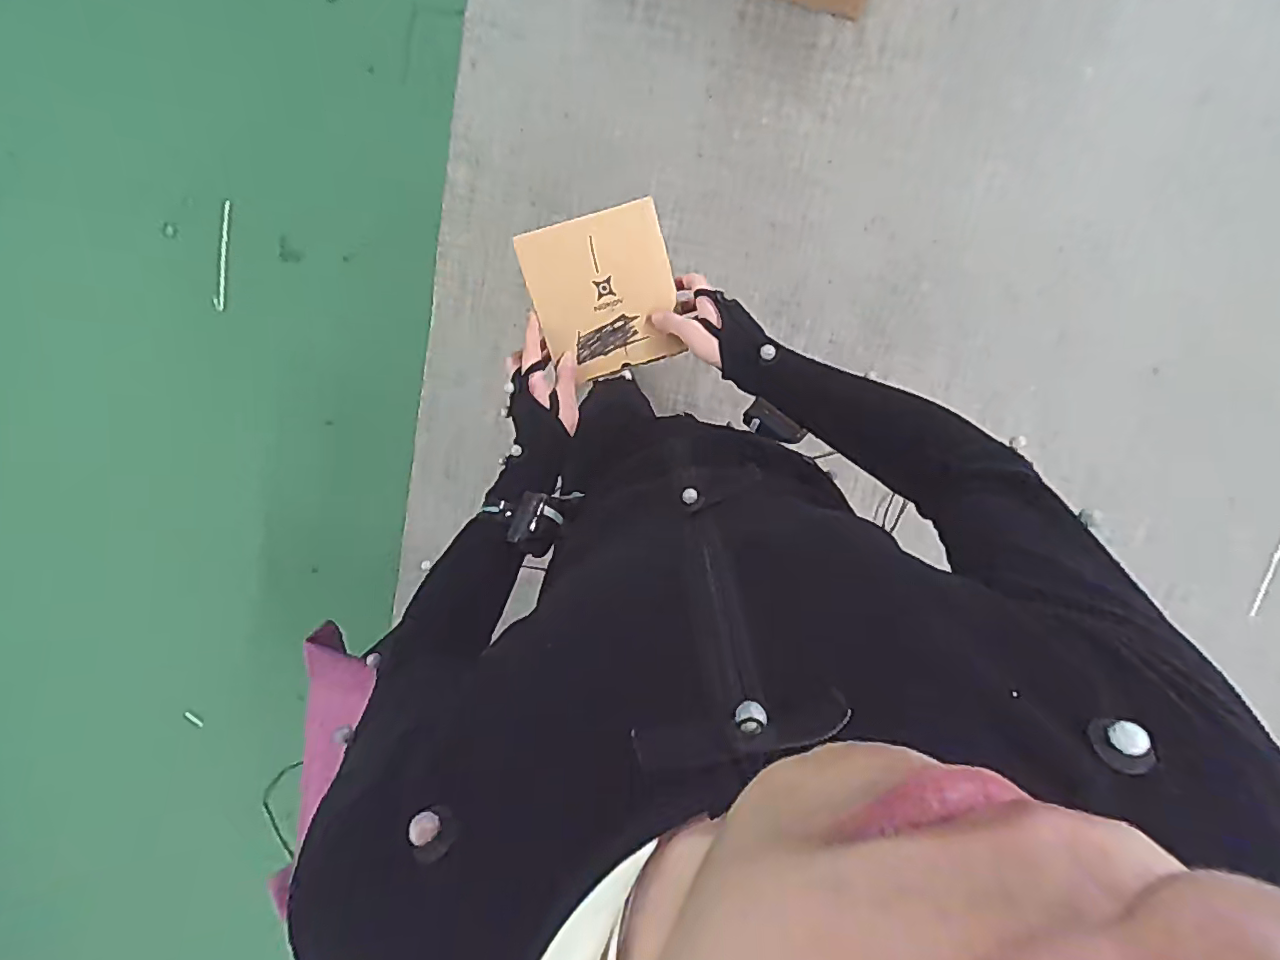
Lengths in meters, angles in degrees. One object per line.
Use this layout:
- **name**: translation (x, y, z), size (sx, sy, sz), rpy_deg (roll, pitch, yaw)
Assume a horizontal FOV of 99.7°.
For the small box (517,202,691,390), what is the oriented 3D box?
- **small box**: translation (-0.047, -0.228, 0.692), size (0.168, 0.176, 0.179), rpy_deg (-17, 107, -5)
